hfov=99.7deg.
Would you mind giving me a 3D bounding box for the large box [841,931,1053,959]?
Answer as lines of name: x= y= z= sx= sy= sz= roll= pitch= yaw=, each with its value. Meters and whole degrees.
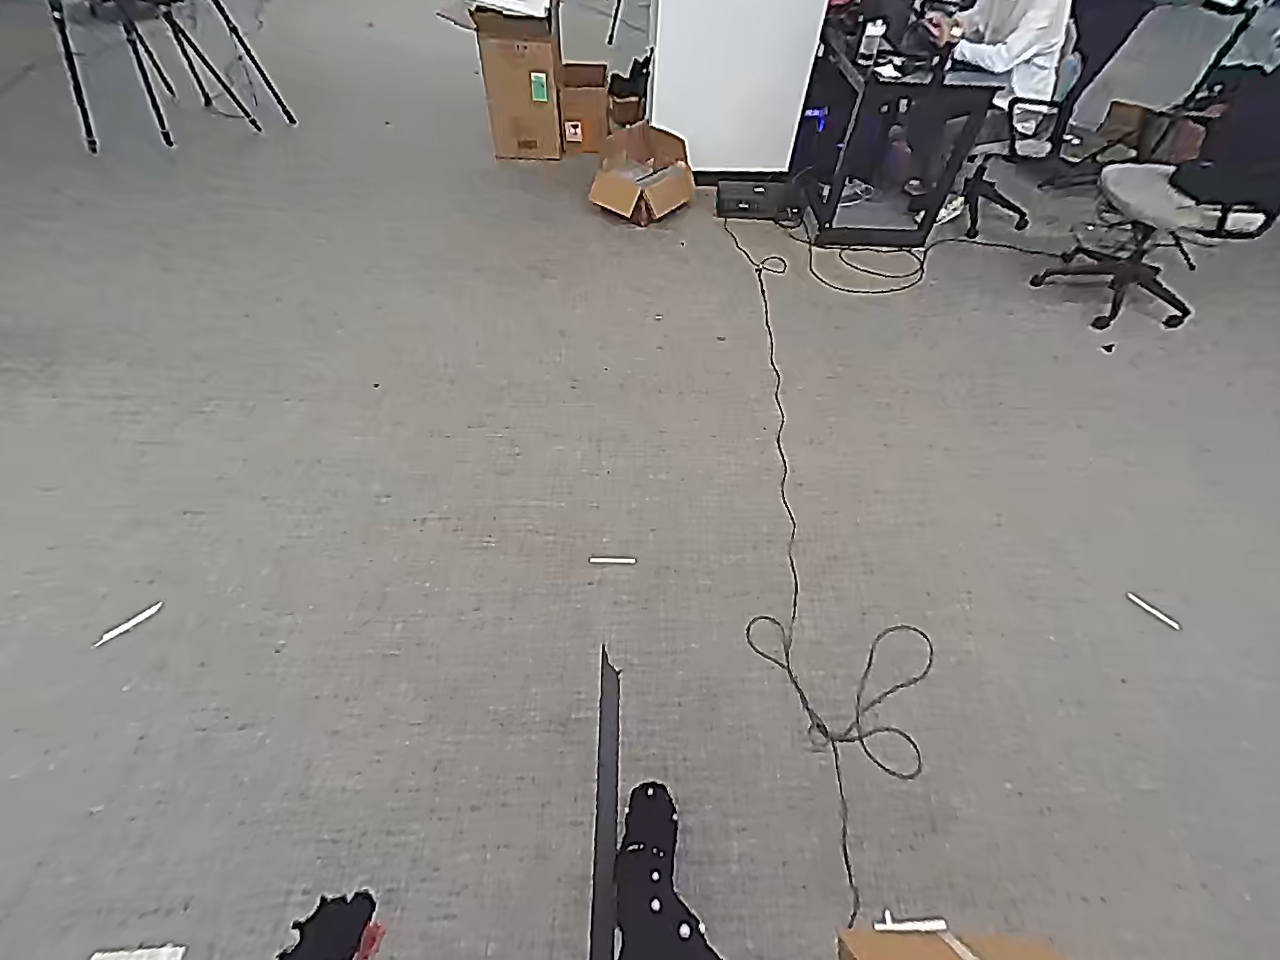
large box: x=0.436 y=0.768 z=0.561 sx=0.320 sy=0.408 sz=0.320 roll=5 pitch=75 yaw=0
